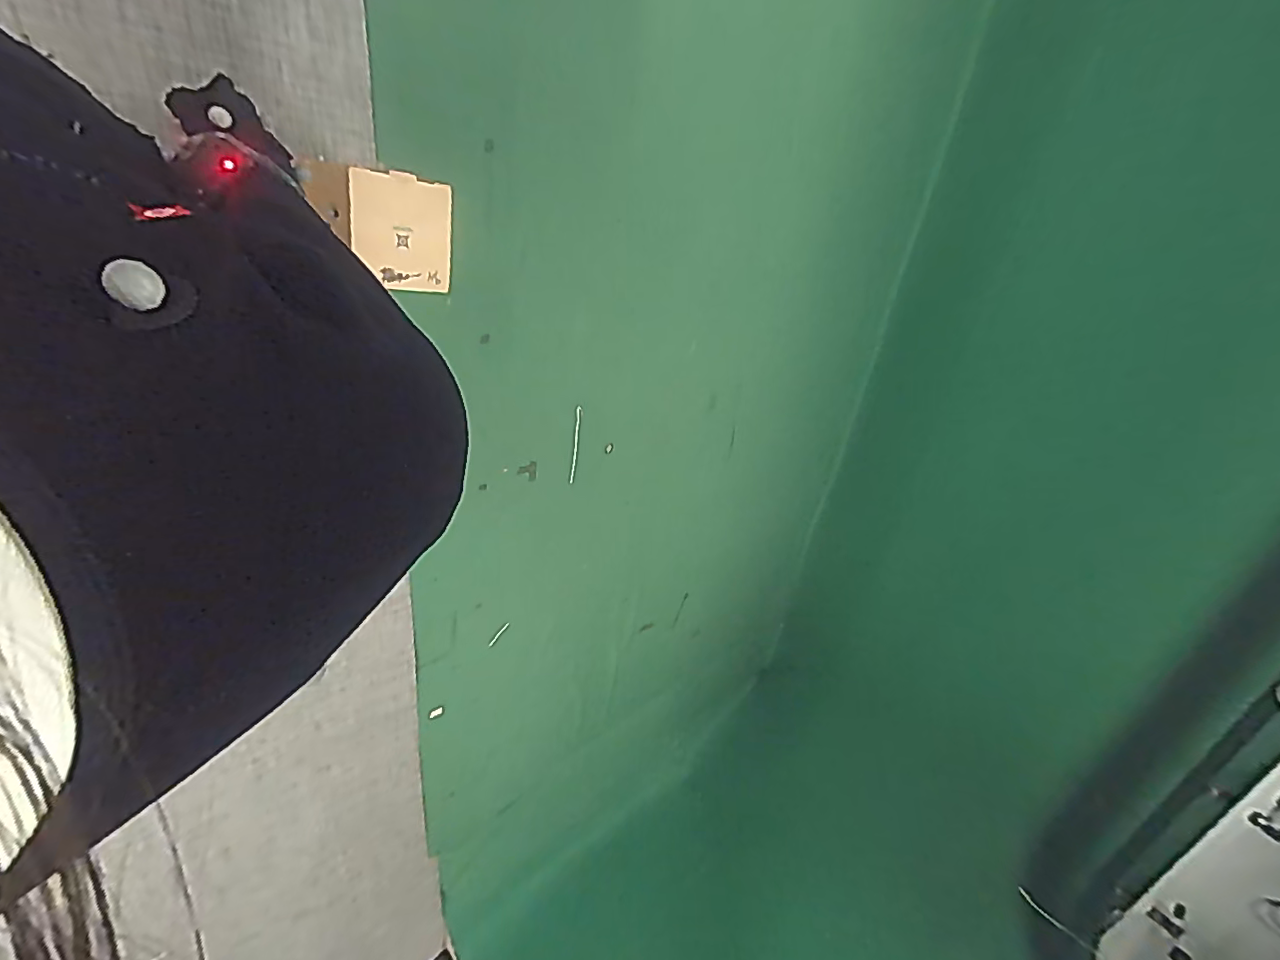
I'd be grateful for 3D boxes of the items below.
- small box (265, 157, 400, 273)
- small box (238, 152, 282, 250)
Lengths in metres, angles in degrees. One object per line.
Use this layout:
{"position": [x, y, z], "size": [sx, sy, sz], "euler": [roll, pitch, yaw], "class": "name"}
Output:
{"position": [-0.573, -0.496, 1.014], "size": [0.179, 0.176, 0.168], "euler": [-14, 123, -44], "class": "small box"}
{"position": [-0.692, -0.562, 1.108], "size": [0.179, 0.176, 0.168], "euler": [-14, 123, -43], "class": "small box"}
